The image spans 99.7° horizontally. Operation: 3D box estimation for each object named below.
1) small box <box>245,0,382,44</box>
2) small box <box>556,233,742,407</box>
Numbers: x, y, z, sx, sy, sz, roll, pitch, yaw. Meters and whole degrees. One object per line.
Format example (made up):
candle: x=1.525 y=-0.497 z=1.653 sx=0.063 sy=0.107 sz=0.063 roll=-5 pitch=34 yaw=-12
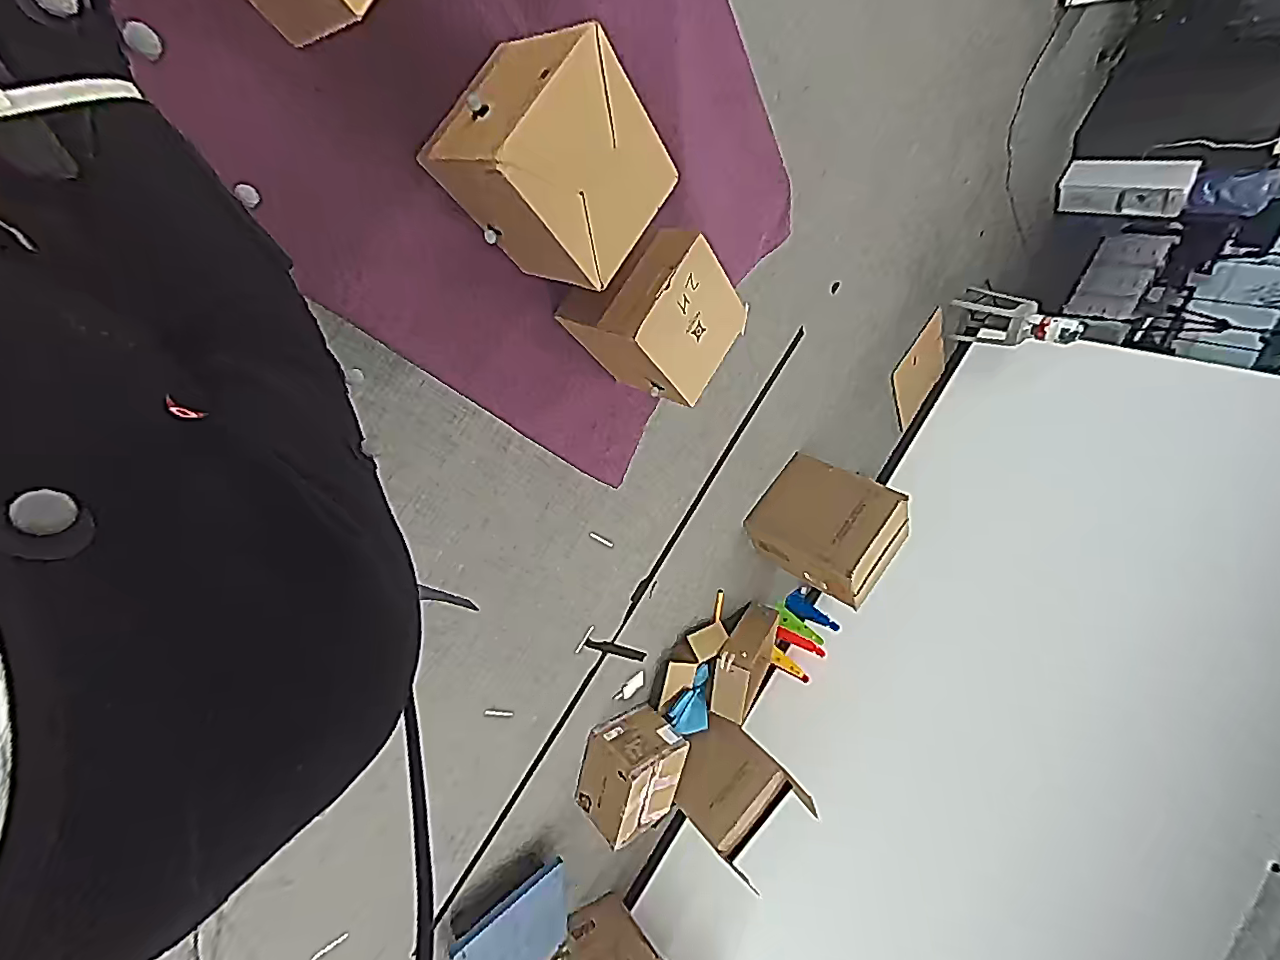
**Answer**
small box: x=-0.247 y=-0.460 z=0.381 sx=0.179 sy=0.176 sz=0.168 roll=-57 pitch=141 yaw=-4
small box: x=0.014 y=-0.238 z=0.791 sx=0.168 sy=0.176 sz=0.179 roll=-58 pitch=141 yaw=-7
